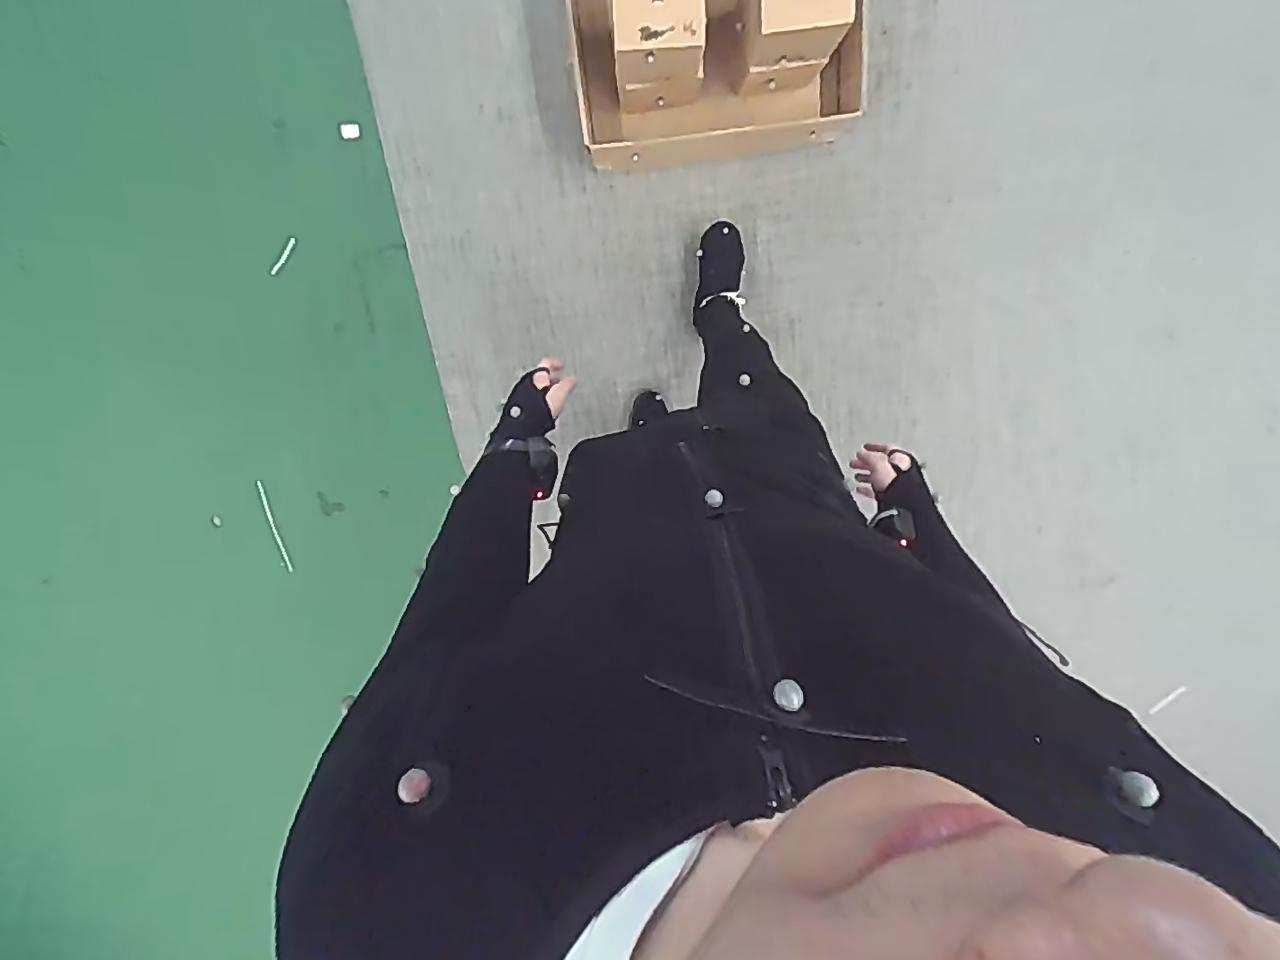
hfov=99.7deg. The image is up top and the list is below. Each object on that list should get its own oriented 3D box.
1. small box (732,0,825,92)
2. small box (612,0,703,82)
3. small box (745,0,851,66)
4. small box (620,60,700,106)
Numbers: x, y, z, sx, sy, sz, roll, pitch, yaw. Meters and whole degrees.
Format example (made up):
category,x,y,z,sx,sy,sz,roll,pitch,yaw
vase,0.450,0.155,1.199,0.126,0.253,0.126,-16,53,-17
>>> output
category,x,y,z,sx,sy,sz,roll,pitch,yaw
small box,0.297,-0.973,1.174,0.168,0.176,0.179,-6,109,3
small box,0.030,-0.895,1.028,0.168,0.176,0.179,-2,108,2
small box,0.291,-0.924,1.018,0.168,0.176,0.179,-4,109,4
small box,0.036,-0.946,1.184,0.168,0.176,0.179,-8,109,2
